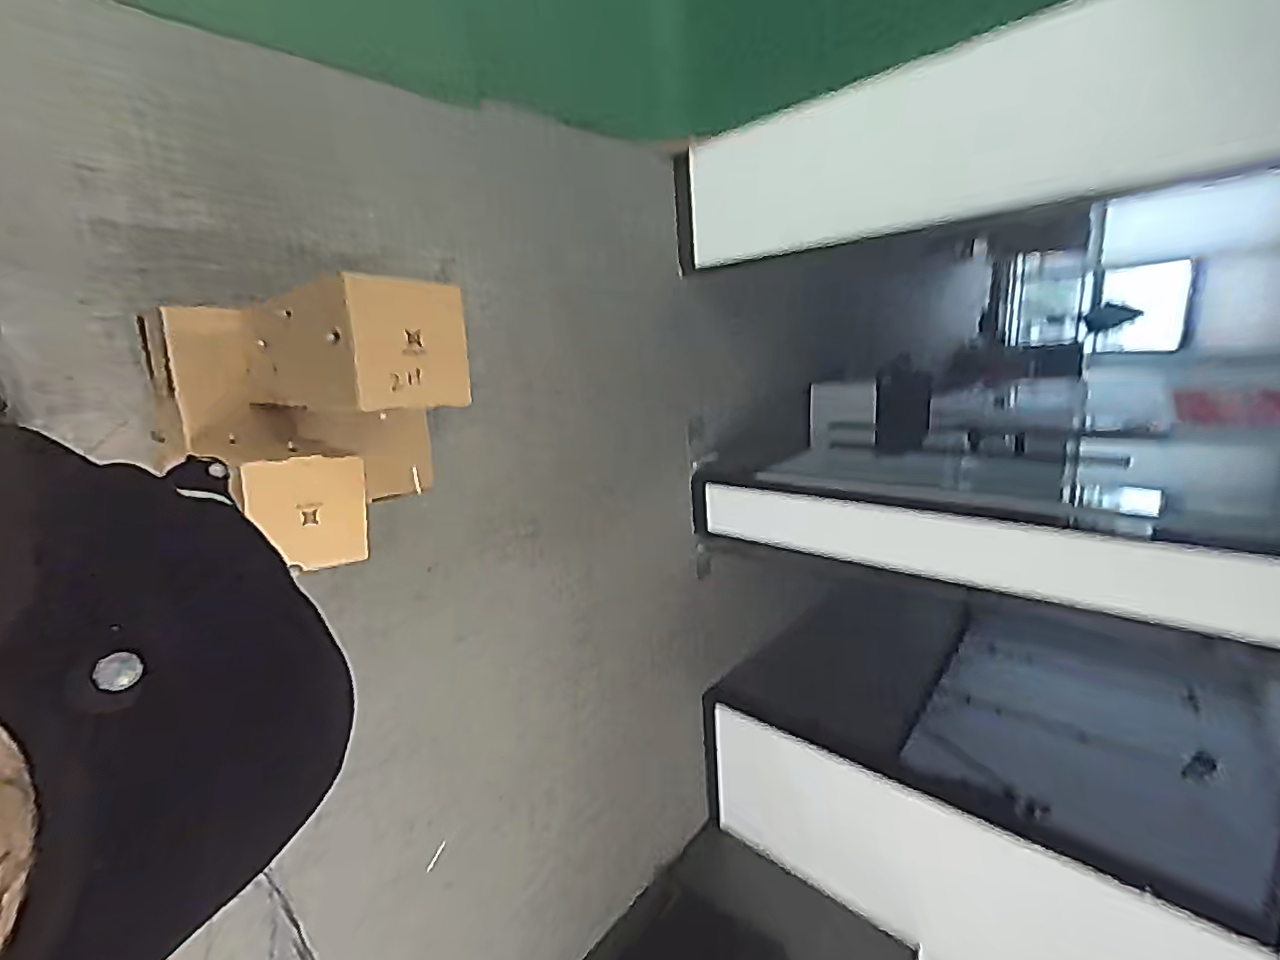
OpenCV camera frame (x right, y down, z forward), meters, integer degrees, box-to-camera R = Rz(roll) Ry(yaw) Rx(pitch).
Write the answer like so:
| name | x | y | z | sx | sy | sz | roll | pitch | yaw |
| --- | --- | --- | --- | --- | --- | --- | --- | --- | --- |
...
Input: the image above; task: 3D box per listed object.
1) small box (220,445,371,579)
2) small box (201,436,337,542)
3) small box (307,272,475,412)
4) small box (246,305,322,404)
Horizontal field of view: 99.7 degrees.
| name | x | y | z | sx | sy | sz | roll | pitch | yaw |
| --- | --- | --- | --- | --- | --- | --- | --- | --- | --- |
| small box | -0.555 | 0.041 | 0.874 | 0.168 | 0.176 | 0.179 | -8 | 103 | -48 |
| small box | -0.672 | 0.010 | 0.983 | 0.179 | 0.176 | 0.168 | -9 | 105 | -49 |
| small box | -0.366 | -0.192 | 0.795 | 0.168 | 0.176 | 0.179 | -13 | 105 | -48 |
| small box | -0.607 | -0.227 | 1.019 | 0.179 | 0.176 | 0.168 | -10 | 103 | -49 |
